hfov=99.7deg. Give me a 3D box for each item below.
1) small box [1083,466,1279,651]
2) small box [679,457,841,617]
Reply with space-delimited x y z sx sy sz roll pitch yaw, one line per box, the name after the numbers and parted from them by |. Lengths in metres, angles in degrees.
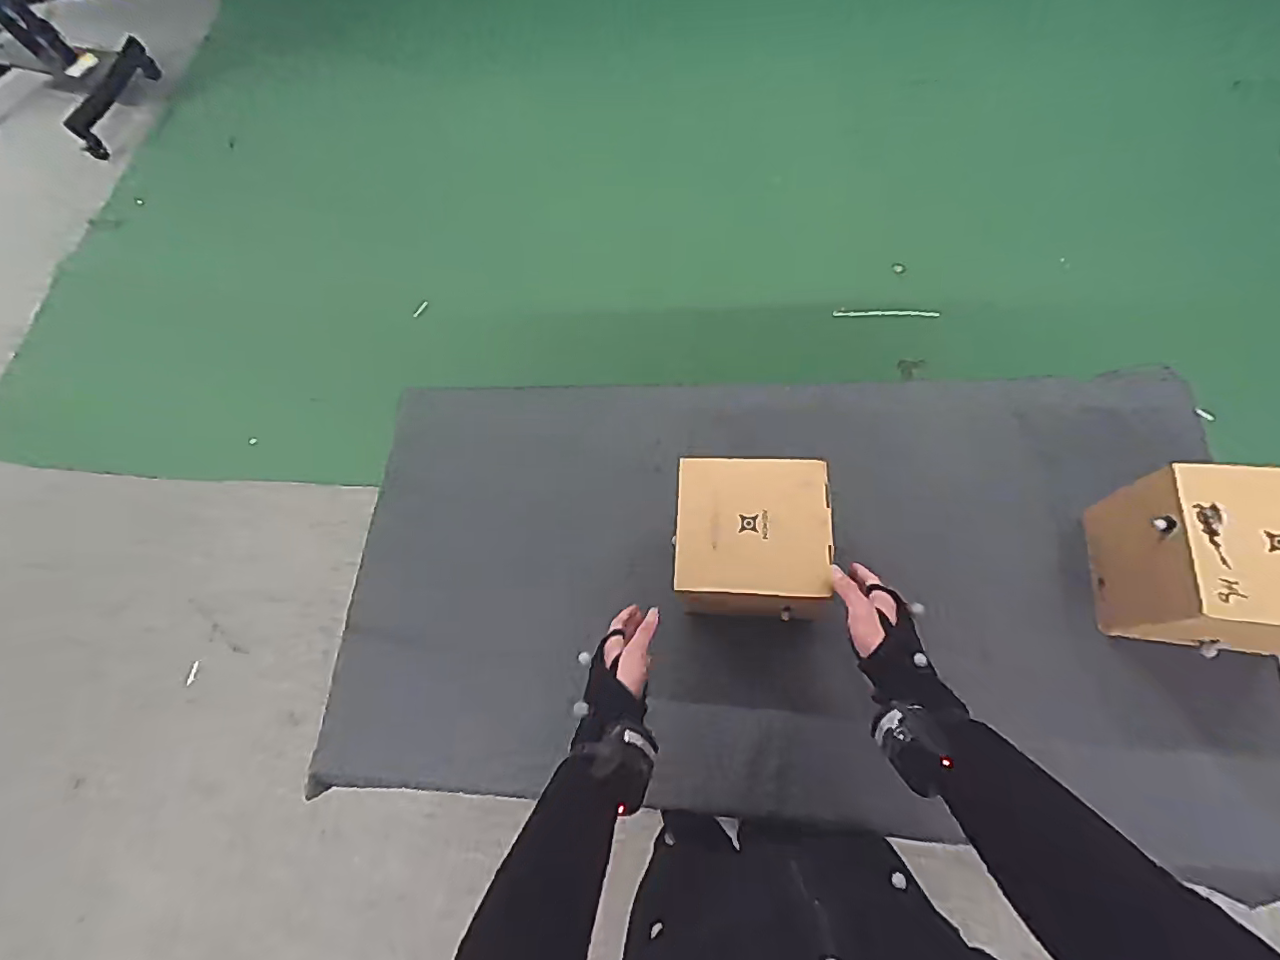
0.657 0.097 0.611 0.179 0.176 0.168 6 71 9 | small box
0.145 0.079 0.690 0.179 0.176 0.168 1 69 9 | small box
